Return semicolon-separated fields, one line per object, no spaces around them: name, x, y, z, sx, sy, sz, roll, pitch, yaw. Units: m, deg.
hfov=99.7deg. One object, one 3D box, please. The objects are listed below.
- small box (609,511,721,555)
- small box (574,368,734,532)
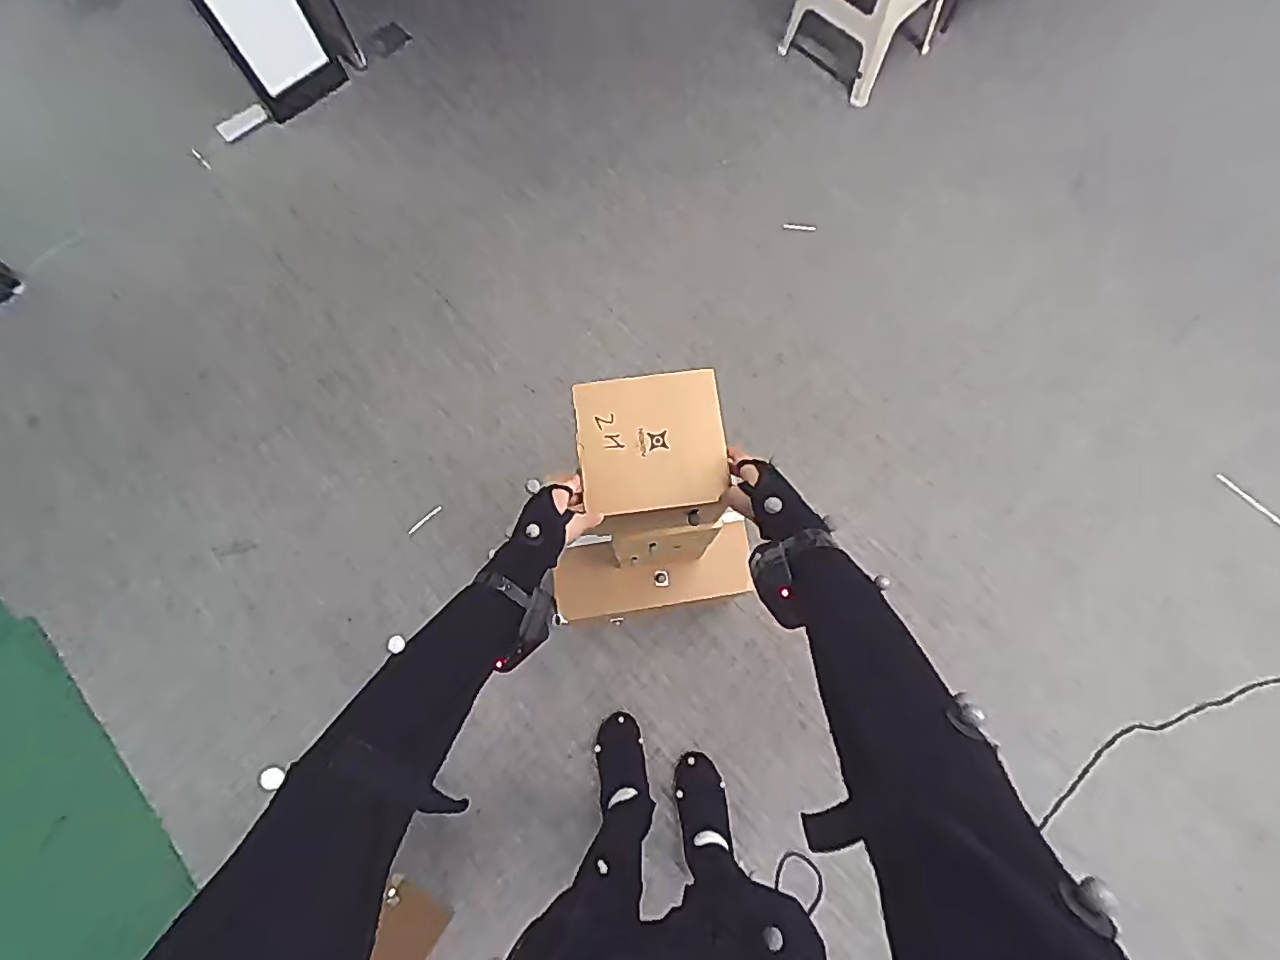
small box;0.029;0.019;0.875;0.168;0.176;0.179;-8;72;-2
small box;0.014;-0.030;0.711;0.179;0.176;0.168;-7;76;0
